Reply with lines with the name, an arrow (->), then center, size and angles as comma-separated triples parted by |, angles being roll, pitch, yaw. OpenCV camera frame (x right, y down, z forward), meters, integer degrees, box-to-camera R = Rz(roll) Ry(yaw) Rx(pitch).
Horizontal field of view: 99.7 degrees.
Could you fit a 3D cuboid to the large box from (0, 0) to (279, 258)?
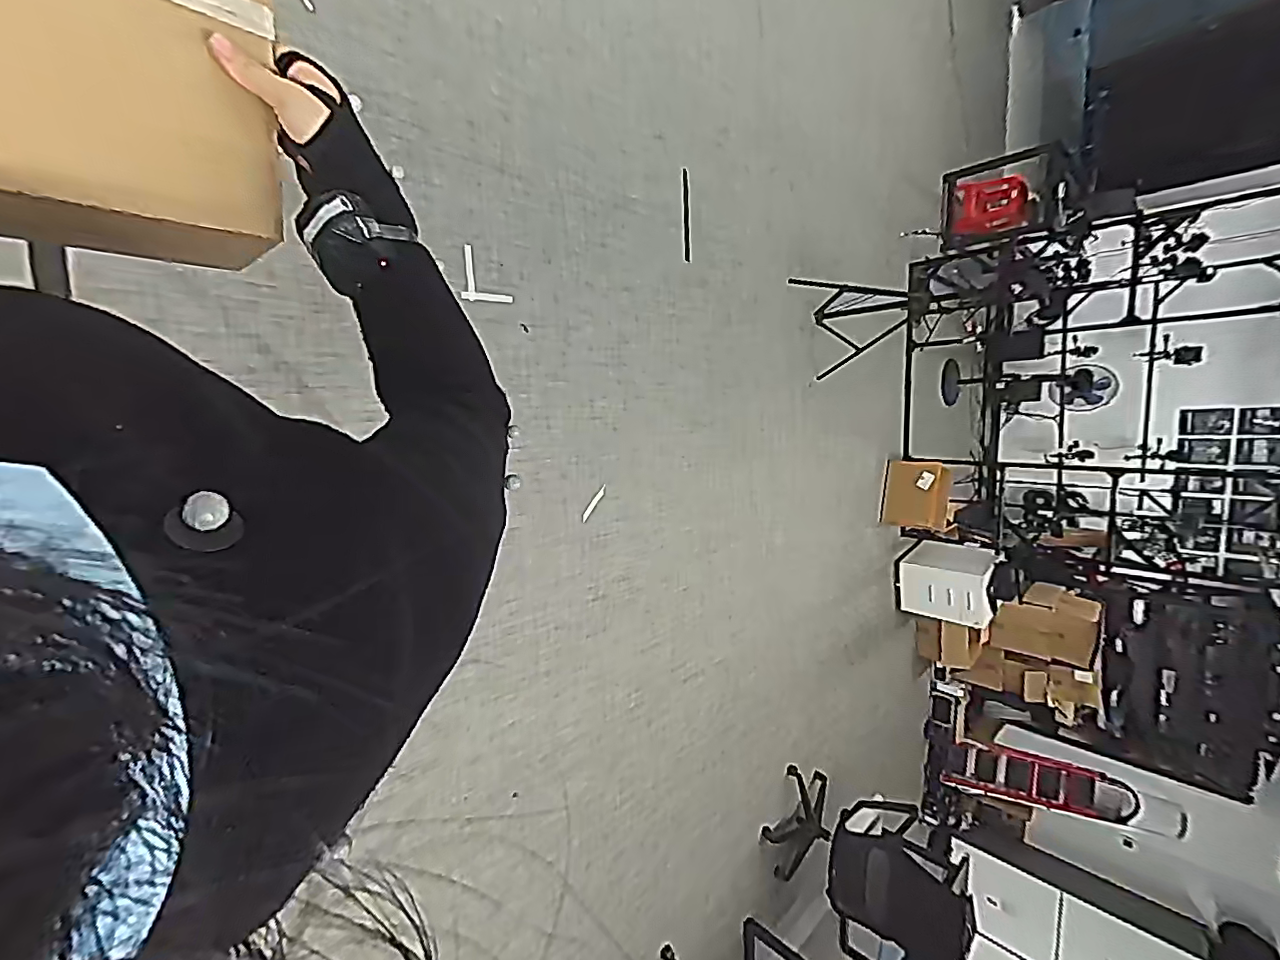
large box -> -0.542, -0.373, 0.410 | 0.408, 0.320, 0.320 | -6, 104, -40
